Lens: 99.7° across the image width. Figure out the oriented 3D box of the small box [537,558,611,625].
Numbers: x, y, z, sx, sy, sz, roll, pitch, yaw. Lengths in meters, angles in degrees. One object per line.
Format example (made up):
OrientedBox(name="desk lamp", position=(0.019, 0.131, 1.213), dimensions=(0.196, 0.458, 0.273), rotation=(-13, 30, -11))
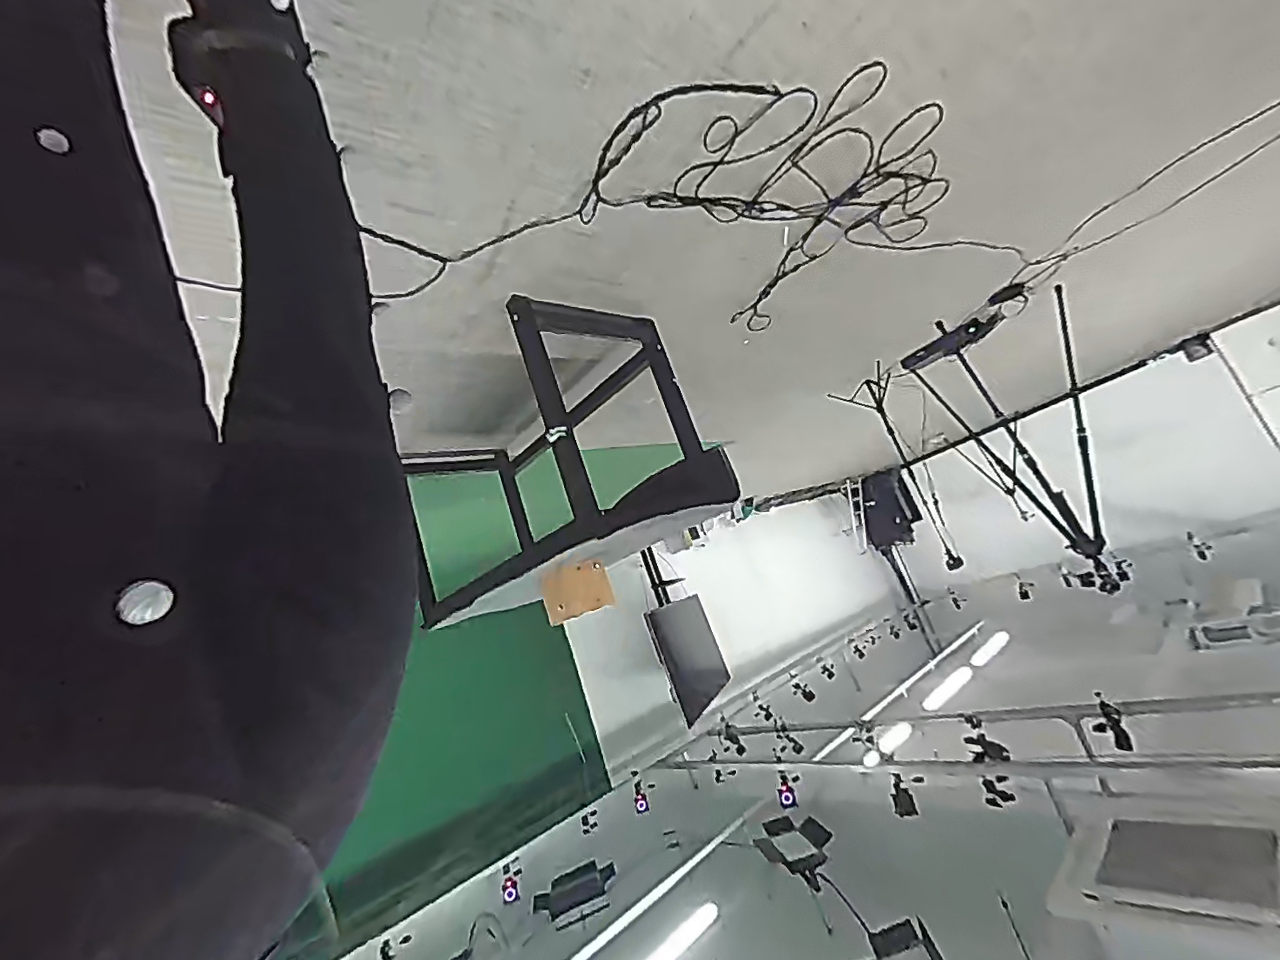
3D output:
OrientedBox(name="small box", position=(-0.231, 0.373, 1.840), dimensions=(0.168, 0.176, 0.179), rotation=(-8, 164, -42))
